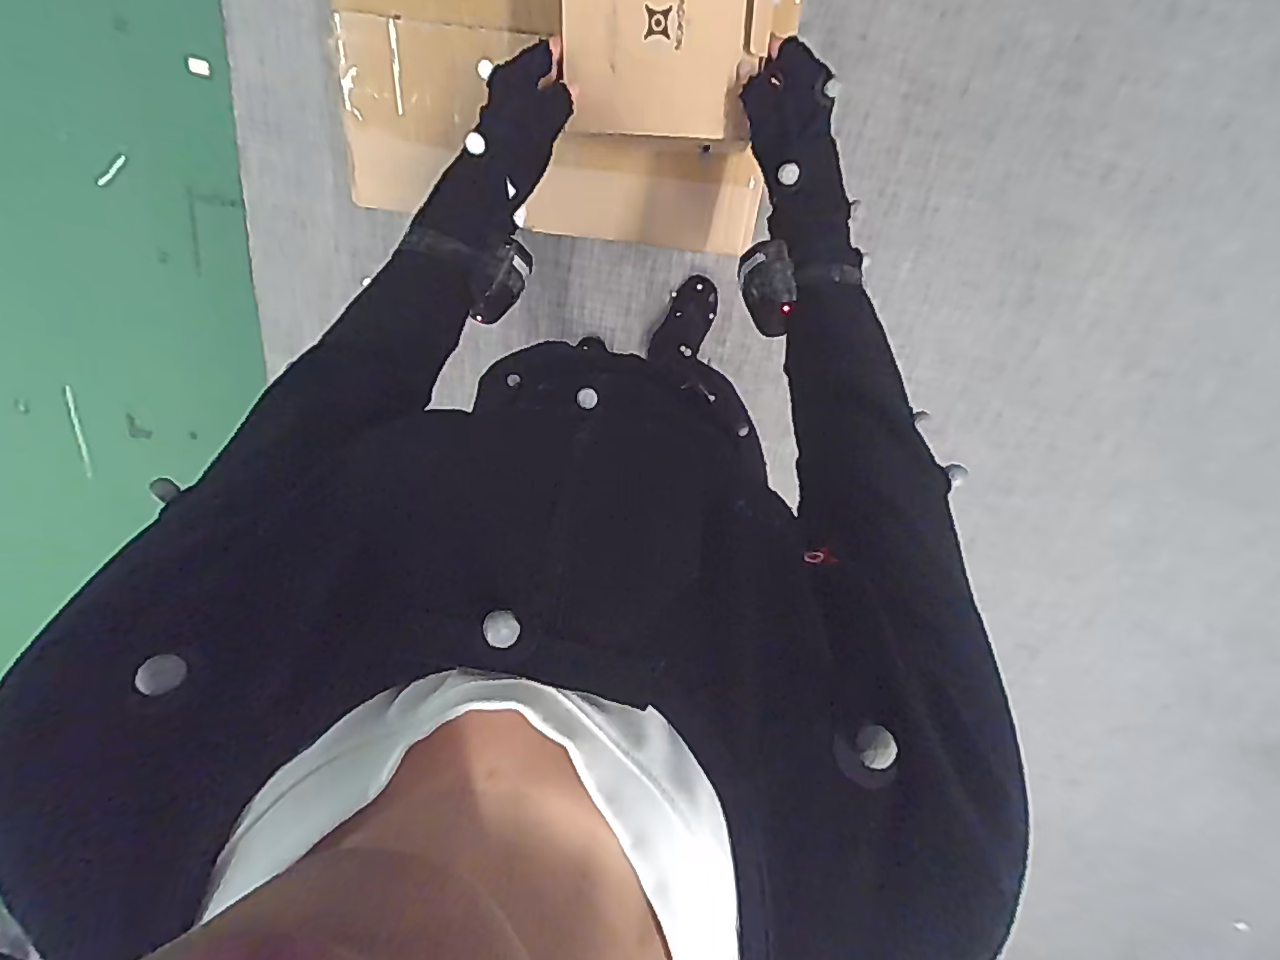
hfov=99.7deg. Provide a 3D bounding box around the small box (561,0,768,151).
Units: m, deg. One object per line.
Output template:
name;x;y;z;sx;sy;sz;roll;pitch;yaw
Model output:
small box;0.029;-0.427;0.527;0.179;0.176;0.168;6;117;7
